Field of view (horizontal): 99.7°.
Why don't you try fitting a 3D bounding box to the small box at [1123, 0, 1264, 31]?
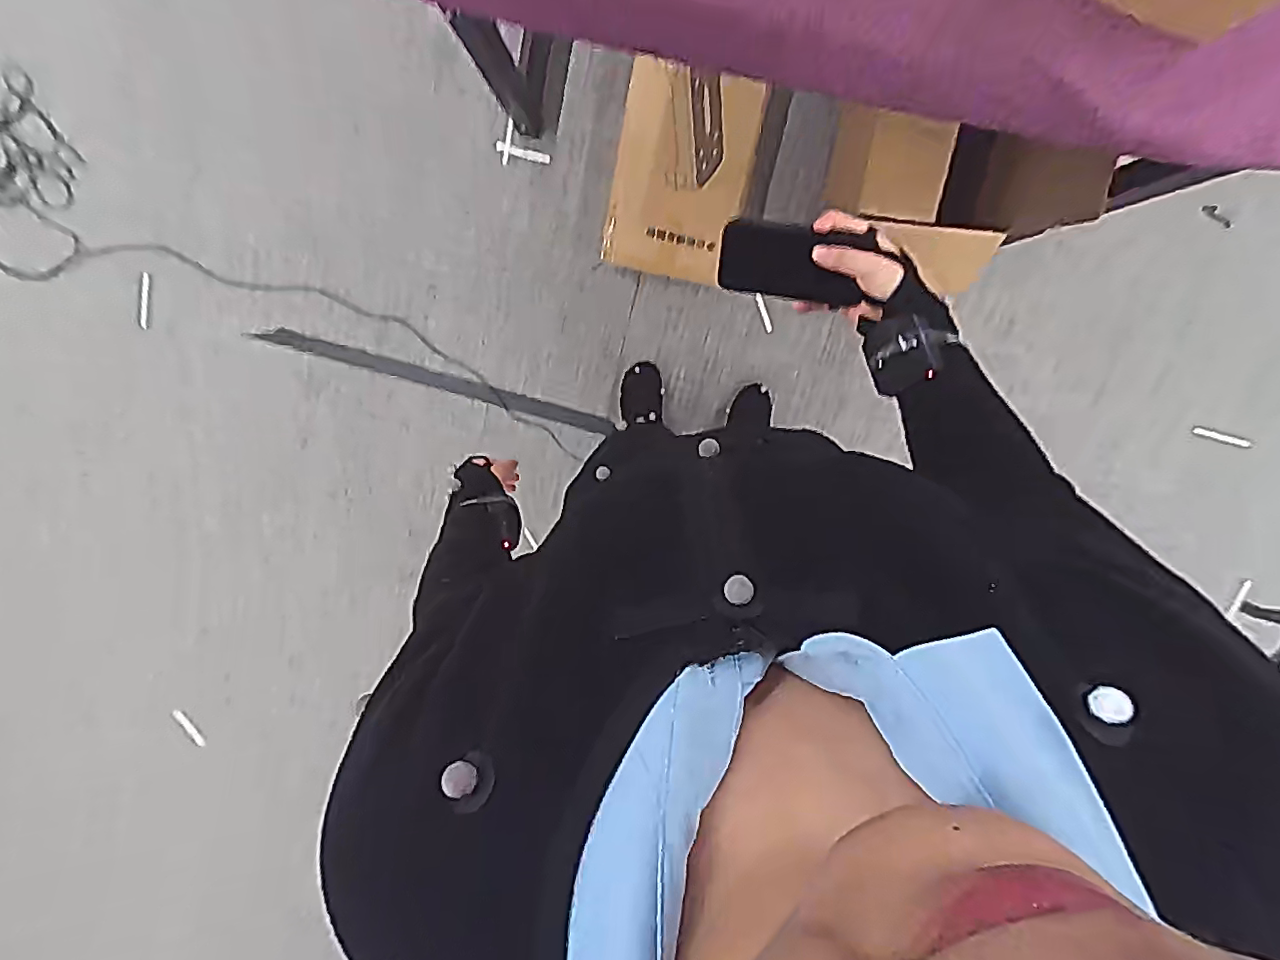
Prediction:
[{"bbox_3d":[0.587,-0.582,0.512,0.179,0.176,0.168,19,103,-3],"label":"small box"}]
